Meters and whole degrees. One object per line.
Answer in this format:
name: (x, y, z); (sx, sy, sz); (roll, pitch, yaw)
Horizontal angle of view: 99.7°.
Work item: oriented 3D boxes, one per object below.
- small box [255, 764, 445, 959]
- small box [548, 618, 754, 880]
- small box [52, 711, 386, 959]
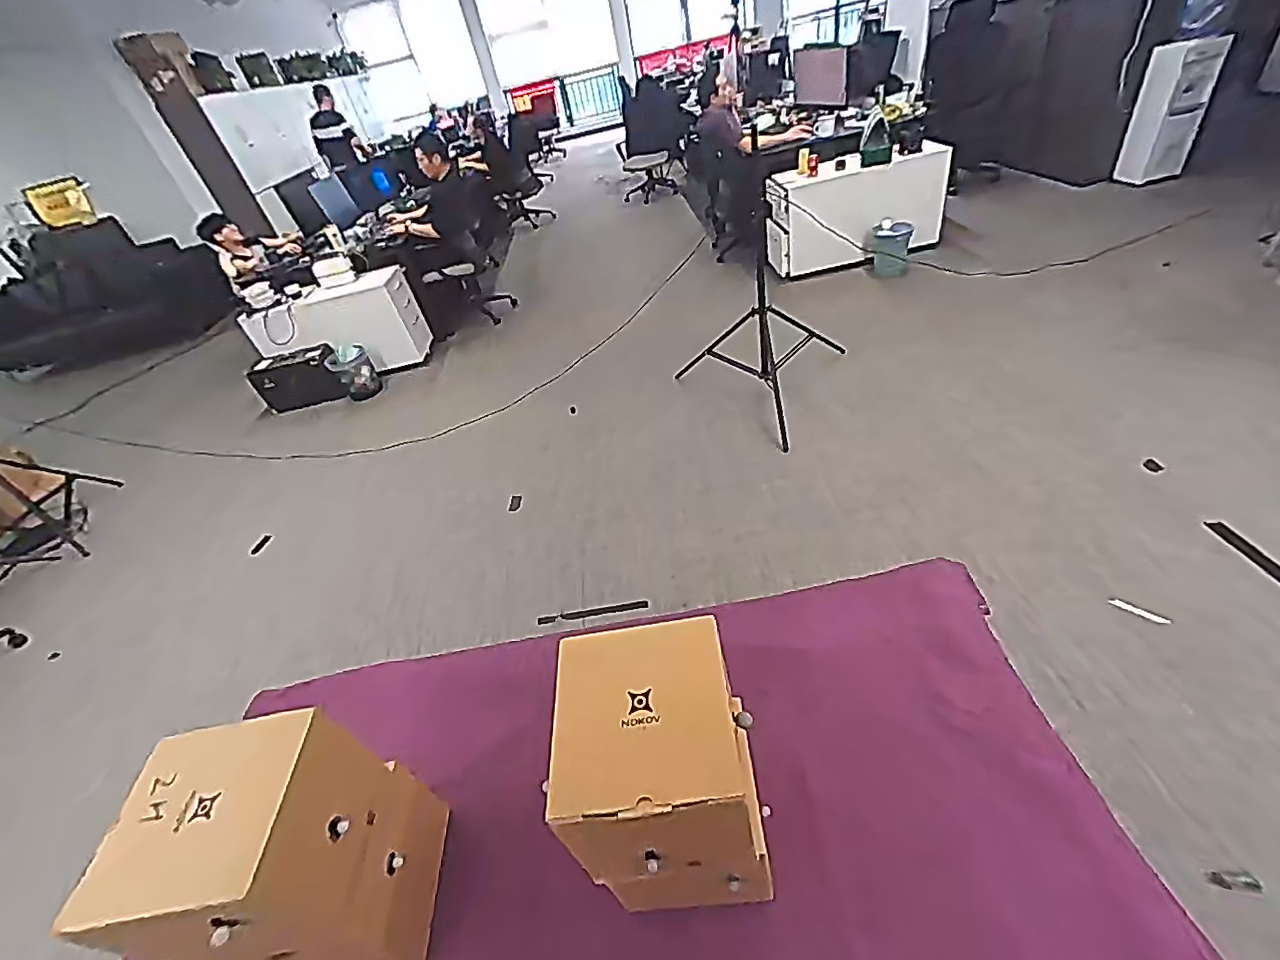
small box: (-0.360, 0.485, 0.663); (0.168, 0.176, 0.179); (-12, 39, 3)
small box: (0.016, 0.269, 0.546); (0.168, 0.176, 0.179); (-10, 39, 5)
small box: (-0.393, 0.367, 0.553); (0.179, 0.176, 0.168); (-12, 39, 2)
